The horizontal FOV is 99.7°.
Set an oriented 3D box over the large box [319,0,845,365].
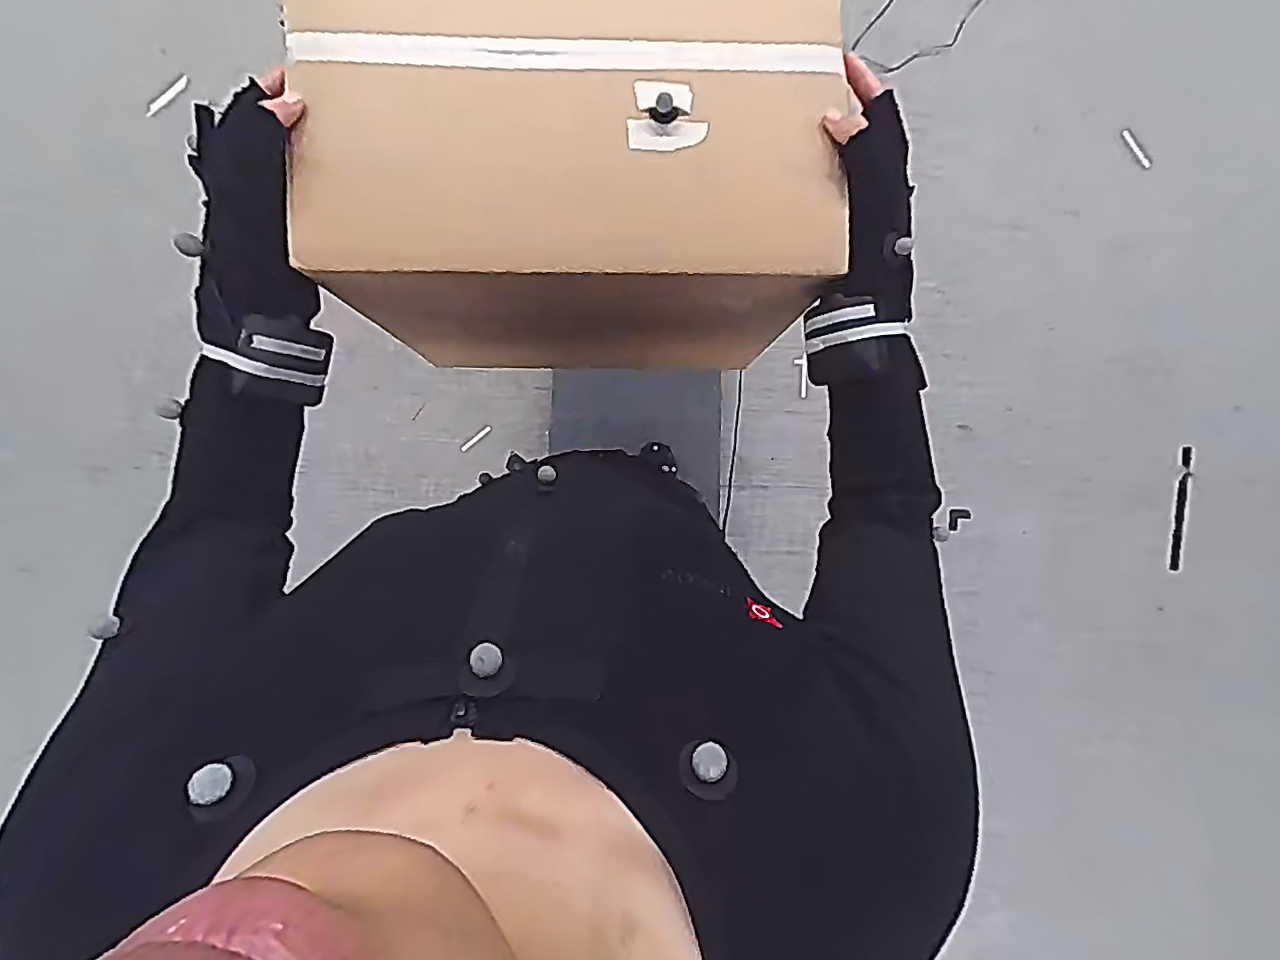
[{"bbox_3d":[-0.050,-0.310,0.562,0.408,0.320,0.320,0,89,-3],"label":"large box"}]
